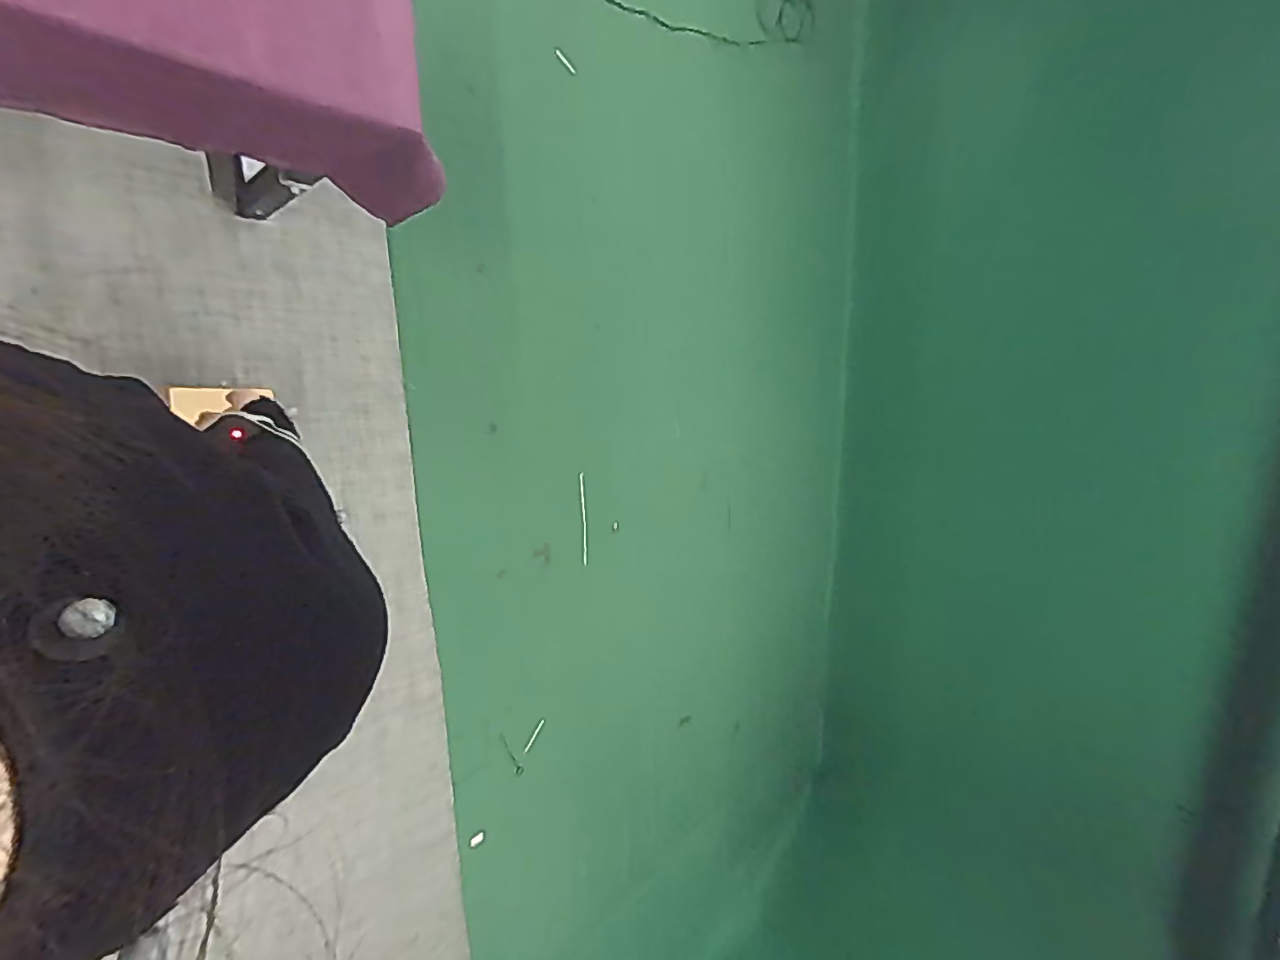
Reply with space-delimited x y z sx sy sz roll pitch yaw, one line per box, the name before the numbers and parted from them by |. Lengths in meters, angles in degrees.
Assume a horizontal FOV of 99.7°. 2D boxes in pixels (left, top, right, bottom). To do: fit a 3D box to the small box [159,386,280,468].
small box | -0.916 -0.119 1.175 0.179 0.176 0.168 -11 105 -49
